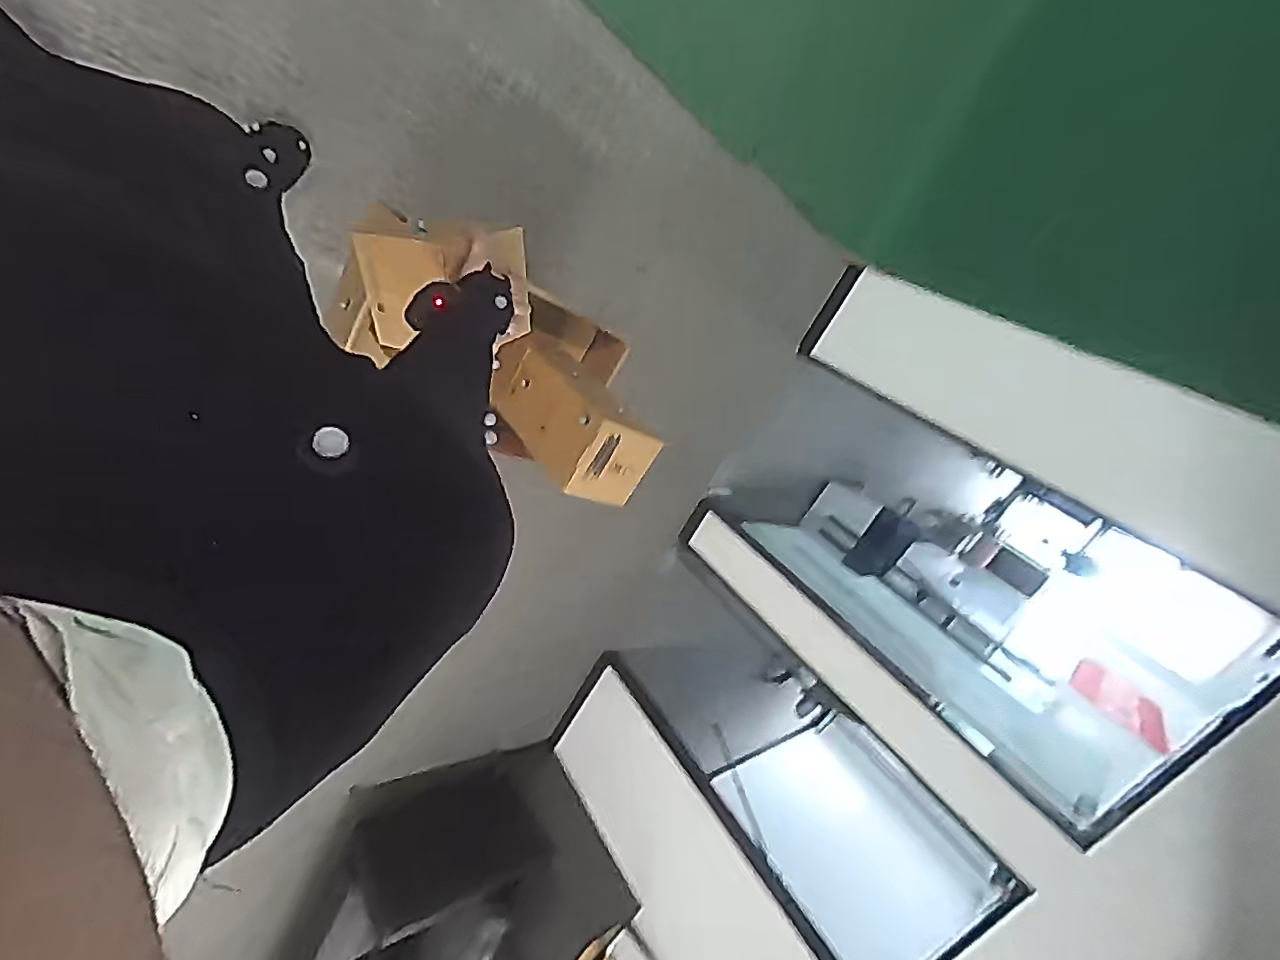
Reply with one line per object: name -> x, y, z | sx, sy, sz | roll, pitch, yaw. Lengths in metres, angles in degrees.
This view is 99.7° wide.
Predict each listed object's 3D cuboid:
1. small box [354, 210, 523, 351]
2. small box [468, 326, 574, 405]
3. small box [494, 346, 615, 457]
small box -> -0.307, -0.313, 0.832 | 0.179, 0.176, 0.168 | -48, 148, -49
small box -> -0.285, -0.268, 1.320 | 0.179, 0.176, 0.168 | 15, 113, -48
small box -> -0.195, -0.178, 1.218 | 0.179, 0.176, 0.168 | 14, 114, -47
